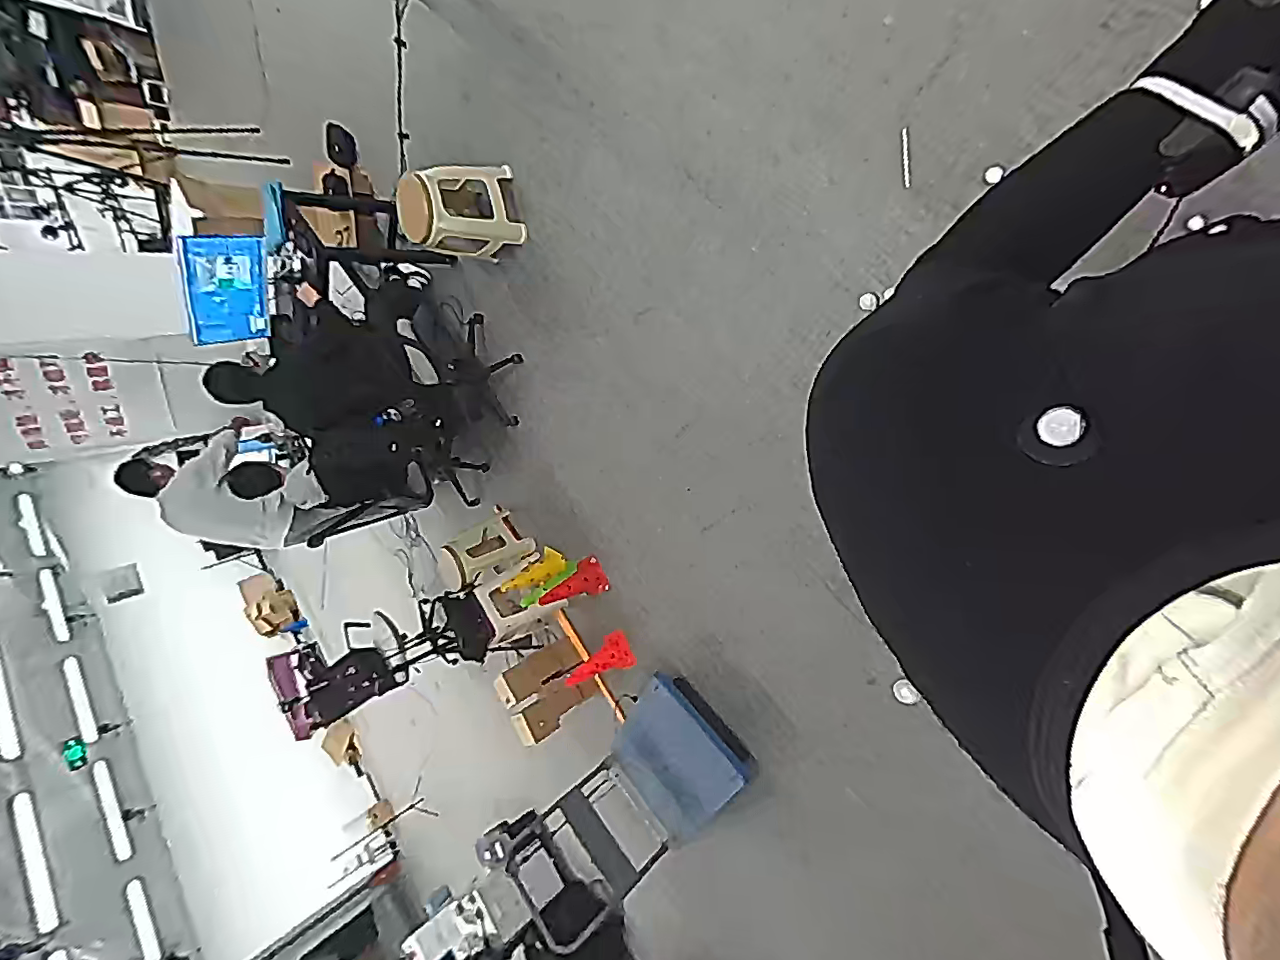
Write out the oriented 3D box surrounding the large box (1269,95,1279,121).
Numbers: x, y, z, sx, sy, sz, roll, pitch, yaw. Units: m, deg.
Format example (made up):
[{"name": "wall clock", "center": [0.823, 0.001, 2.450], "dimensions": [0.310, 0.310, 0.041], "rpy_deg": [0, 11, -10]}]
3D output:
[{"name": "large box", "center": [0.733, -0.332, 0.291], "dimensions": [0.408, 0.320, 0.320], "rpy_deg": [39, 133, 23]}]
